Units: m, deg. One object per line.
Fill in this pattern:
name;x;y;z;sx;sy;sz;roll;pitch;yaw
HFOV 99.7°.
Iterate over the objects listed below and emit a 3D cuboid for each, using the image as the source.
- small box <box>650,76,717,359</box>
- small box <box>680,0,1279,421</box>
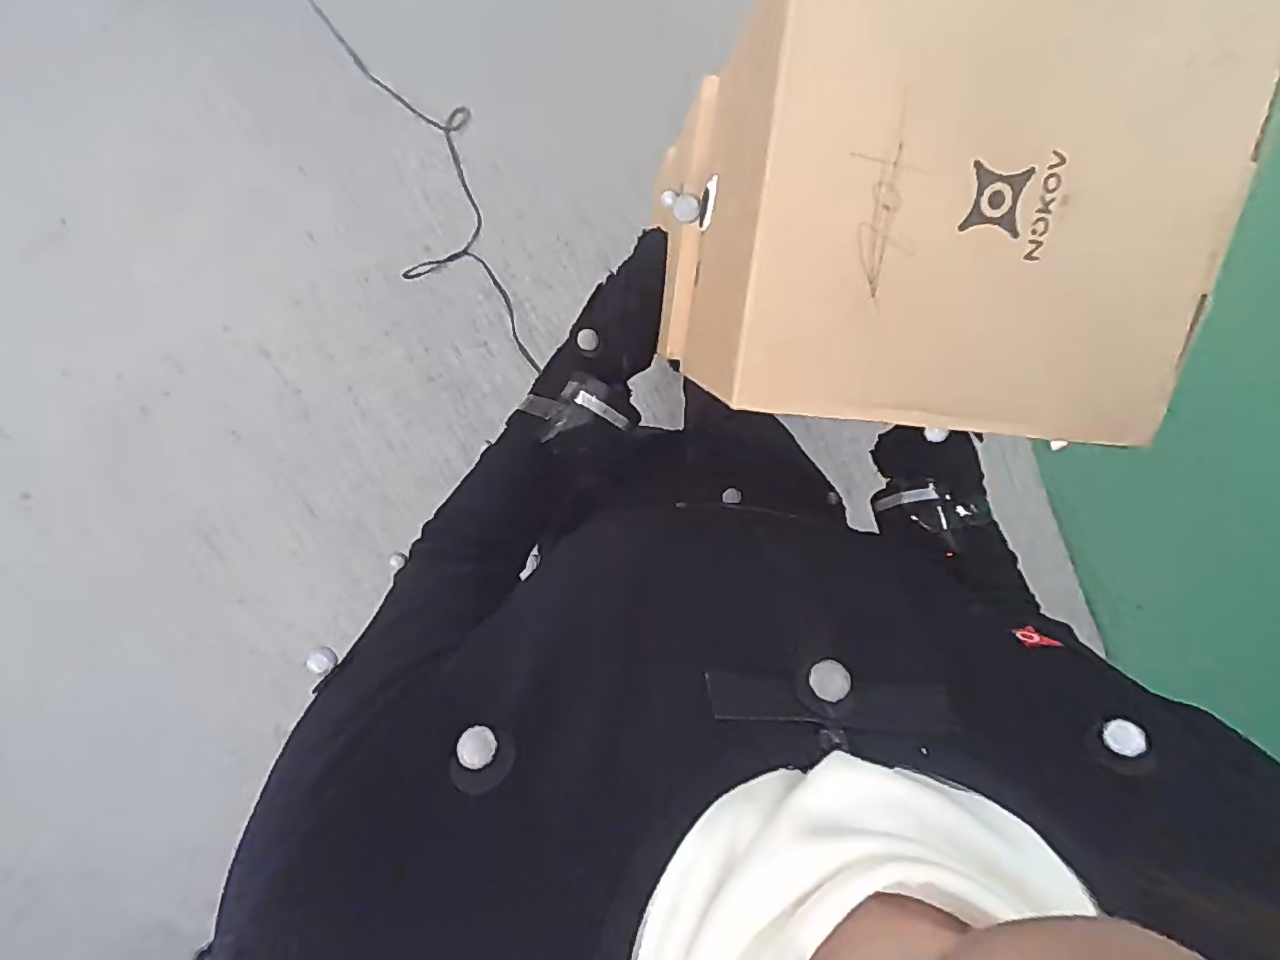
small box;0.105;-0.180;0.424;0.179;0.176;0.168;3;107;-3
small box;0.121;-0.128;0.268;0.179;0.176;0.168;4;104;-2
